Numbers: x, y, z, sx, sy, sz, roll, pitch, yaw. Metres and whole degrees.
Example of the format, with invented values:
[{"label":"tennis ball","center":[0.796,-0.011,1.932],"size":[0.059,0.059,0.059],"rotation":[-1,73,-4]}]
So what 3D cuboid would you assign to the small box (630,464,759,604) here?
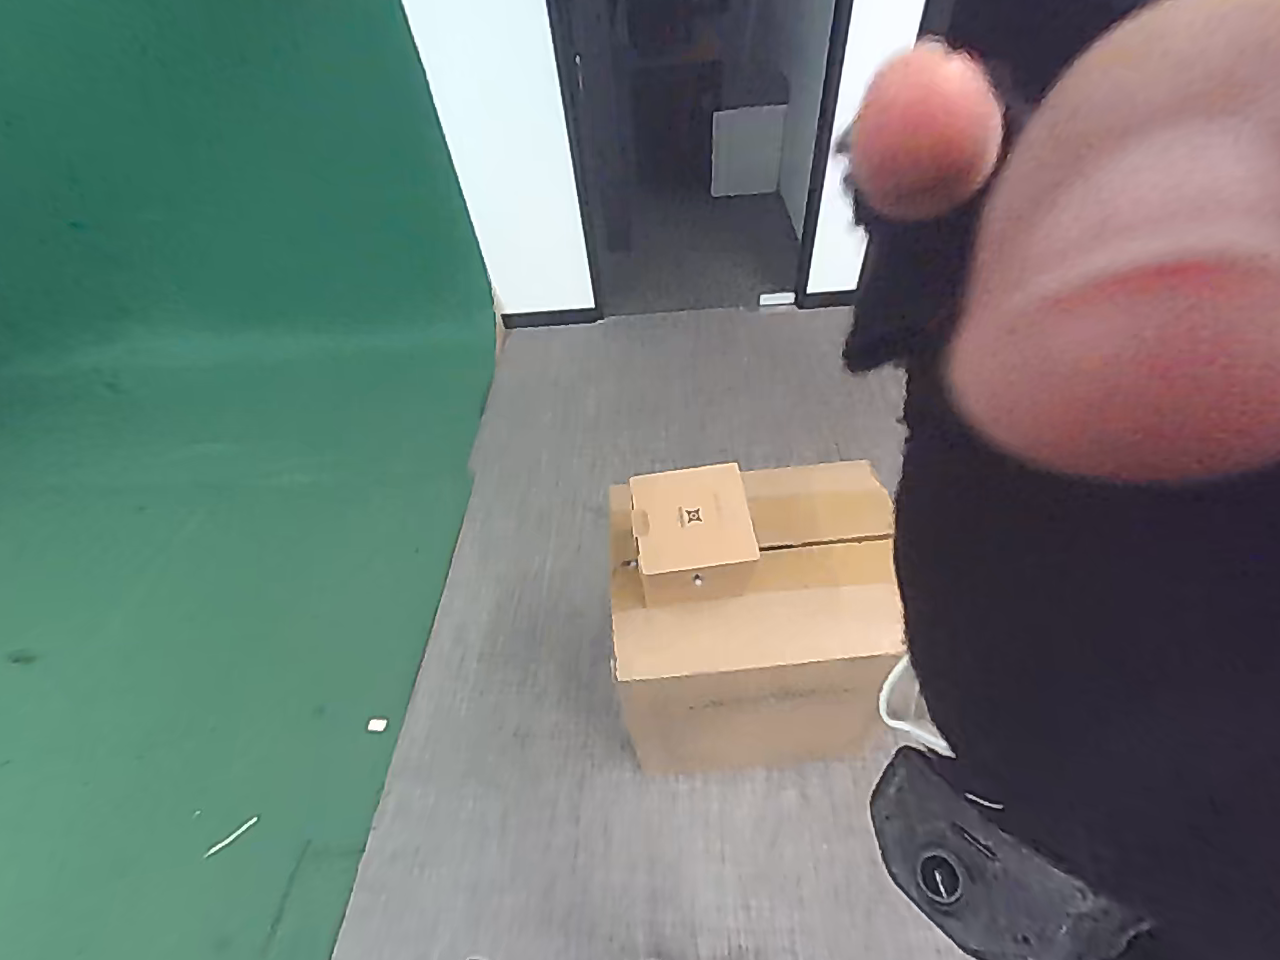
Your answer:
[{"label":"small box","center":[0.084,0.095,0.887],"size":[0.179,0.176,0.168],"rotation":[-8,61,-1]}]
